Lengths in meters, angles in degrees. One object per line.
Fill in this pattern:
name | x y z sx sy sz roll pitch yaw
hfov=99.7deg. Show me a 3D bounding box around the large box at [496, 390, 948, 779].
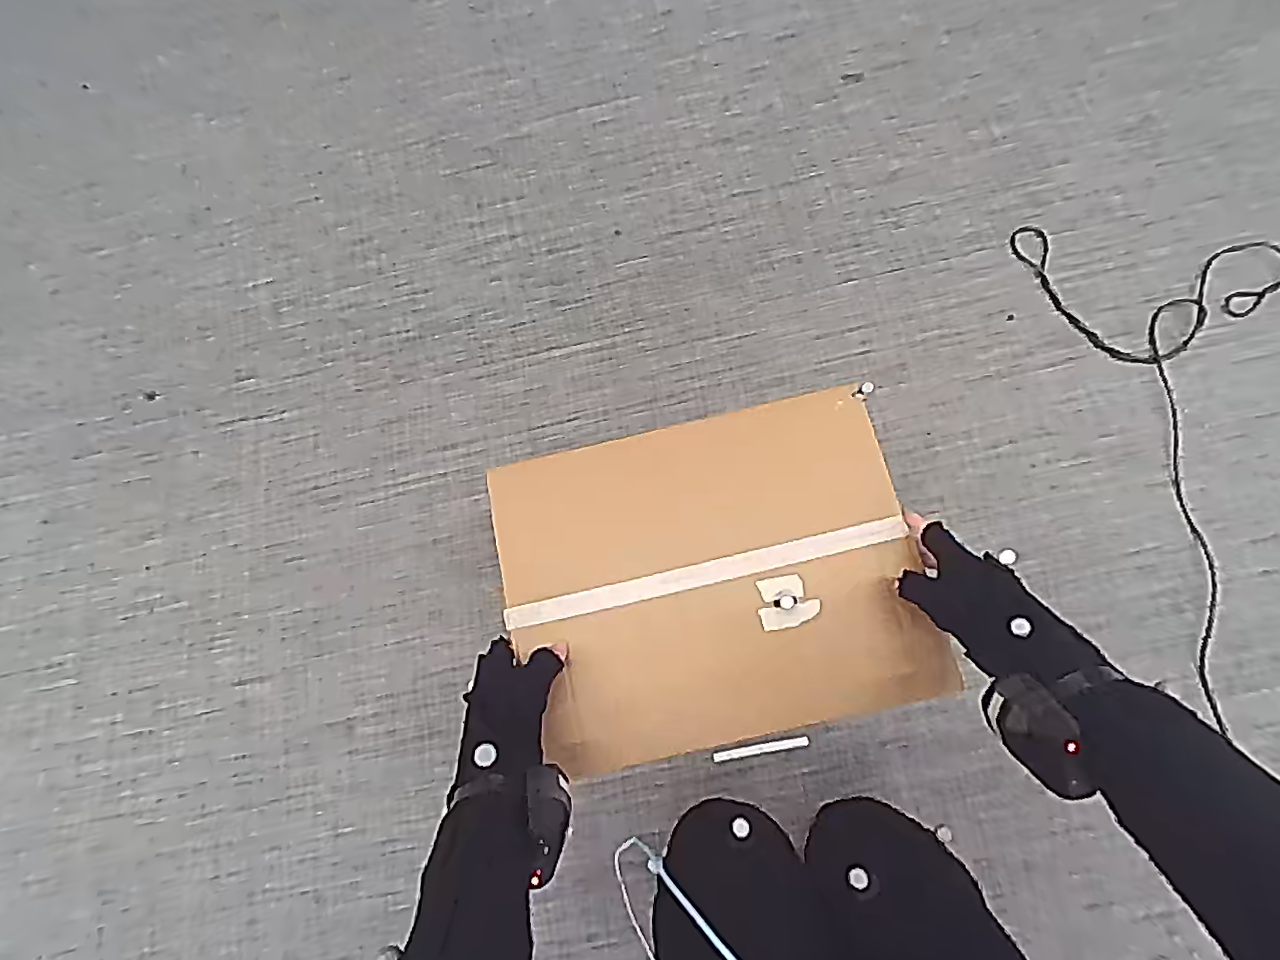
large box | 0.077 0.129 0.695 0.408 0.320 0.320 -14 77 0
